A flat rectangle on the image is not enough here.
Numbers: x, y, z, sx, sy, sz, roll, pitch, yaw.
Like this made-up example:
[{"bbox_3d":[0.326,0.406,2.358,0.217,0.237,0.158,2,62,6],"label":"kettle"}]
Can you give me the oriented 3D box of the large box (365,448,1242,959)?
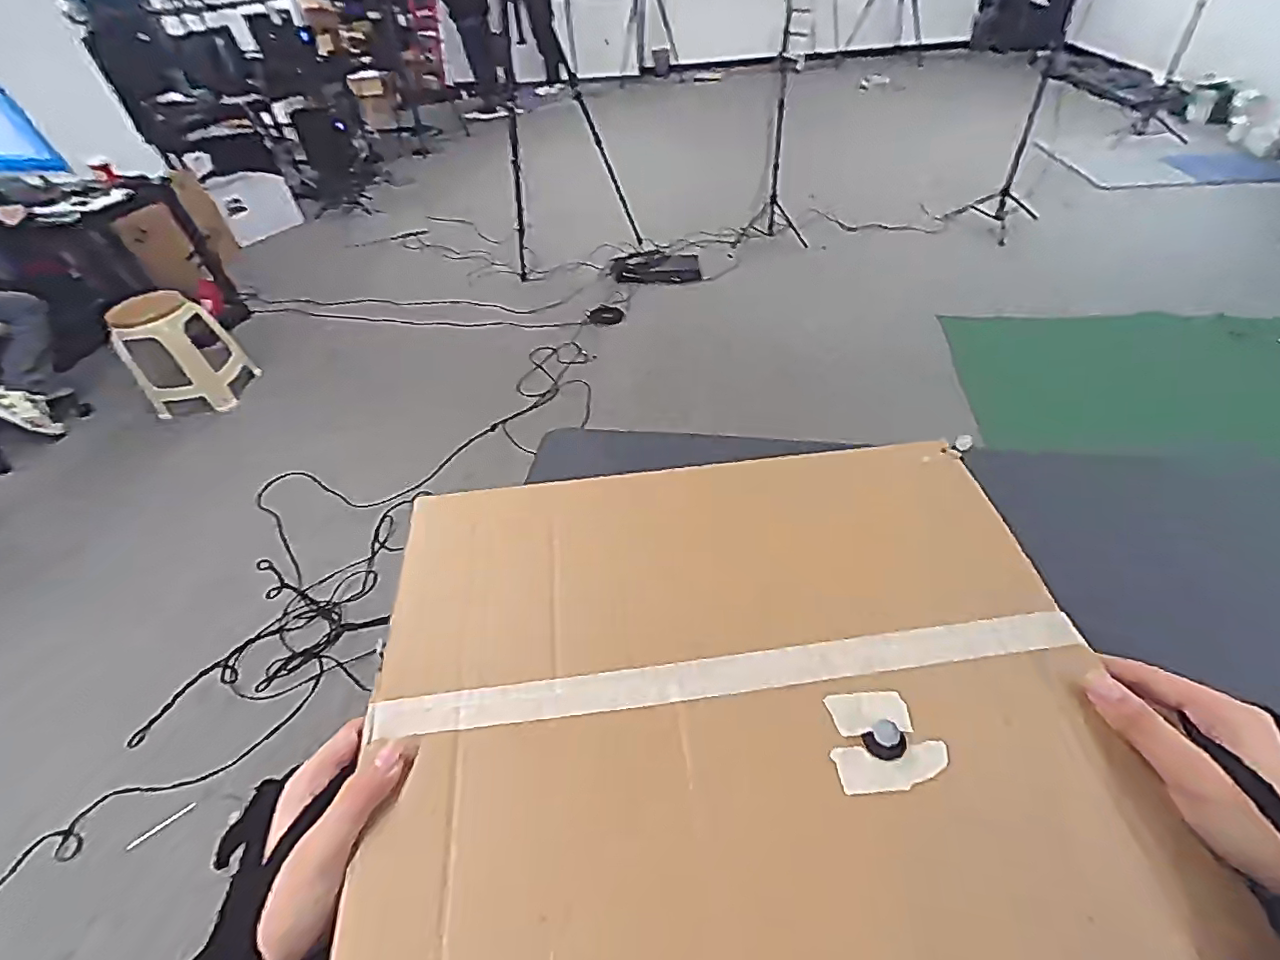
[{"bbox_3d":[0.059,0.207,0.437,0.408,0.320,0.320,-6,52,-4],"label":"large box"}]
